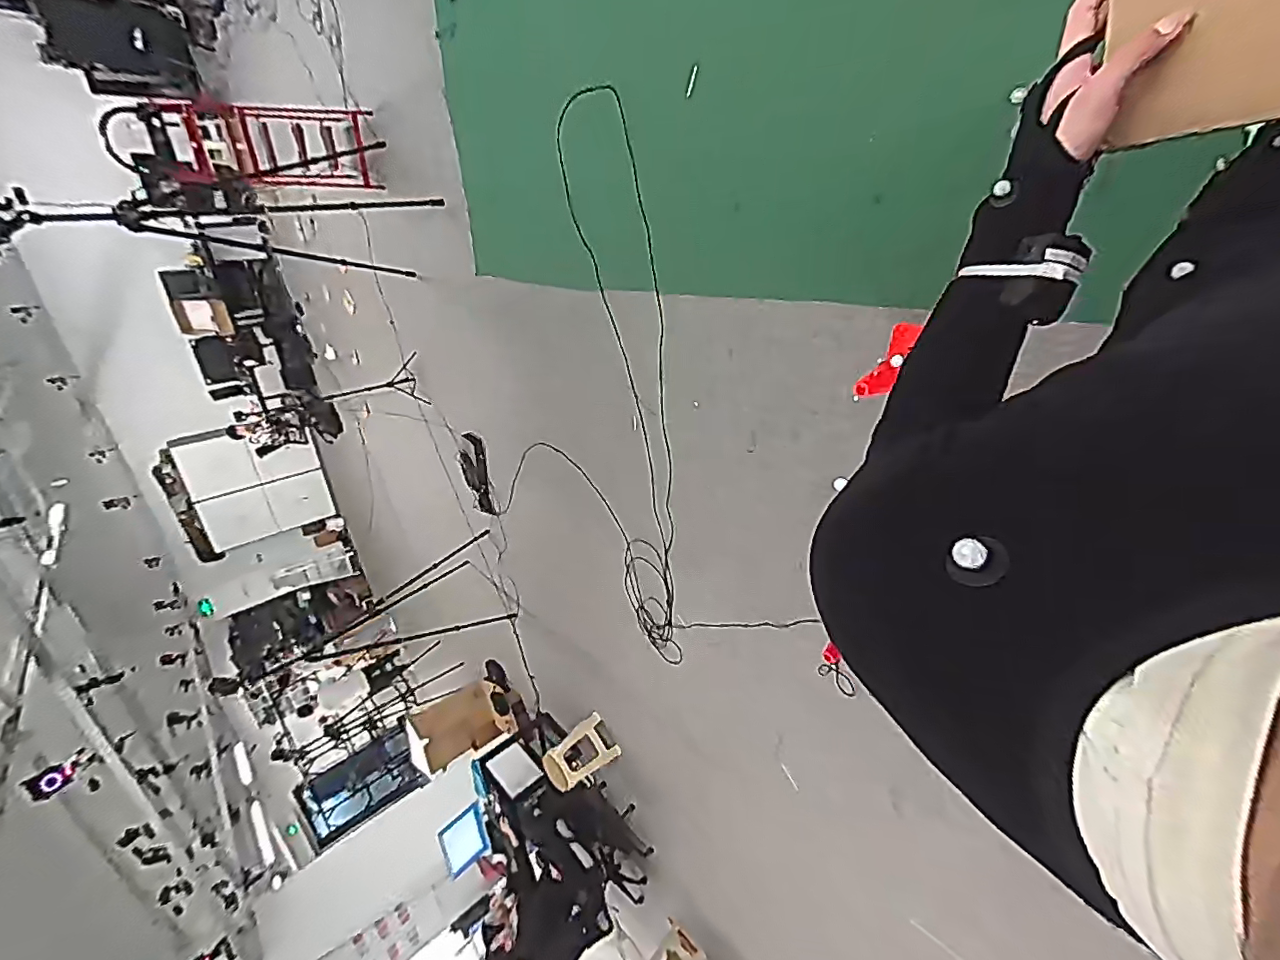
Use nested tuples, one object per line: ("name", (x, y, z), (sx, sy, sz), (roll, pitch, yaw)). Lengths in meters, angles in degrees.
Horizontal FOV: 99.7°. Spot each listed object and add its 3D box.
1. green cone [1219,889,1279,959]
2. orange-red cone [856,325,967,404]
("green cone", (1.519, 1.216, 1.264), (0.200, 0.368, 0.202), (28, 128, 39))
("orange-red cone", (0.688, -0.281, 1.458), (0.199, 0.360, 0.198), (31, 130, 39))
